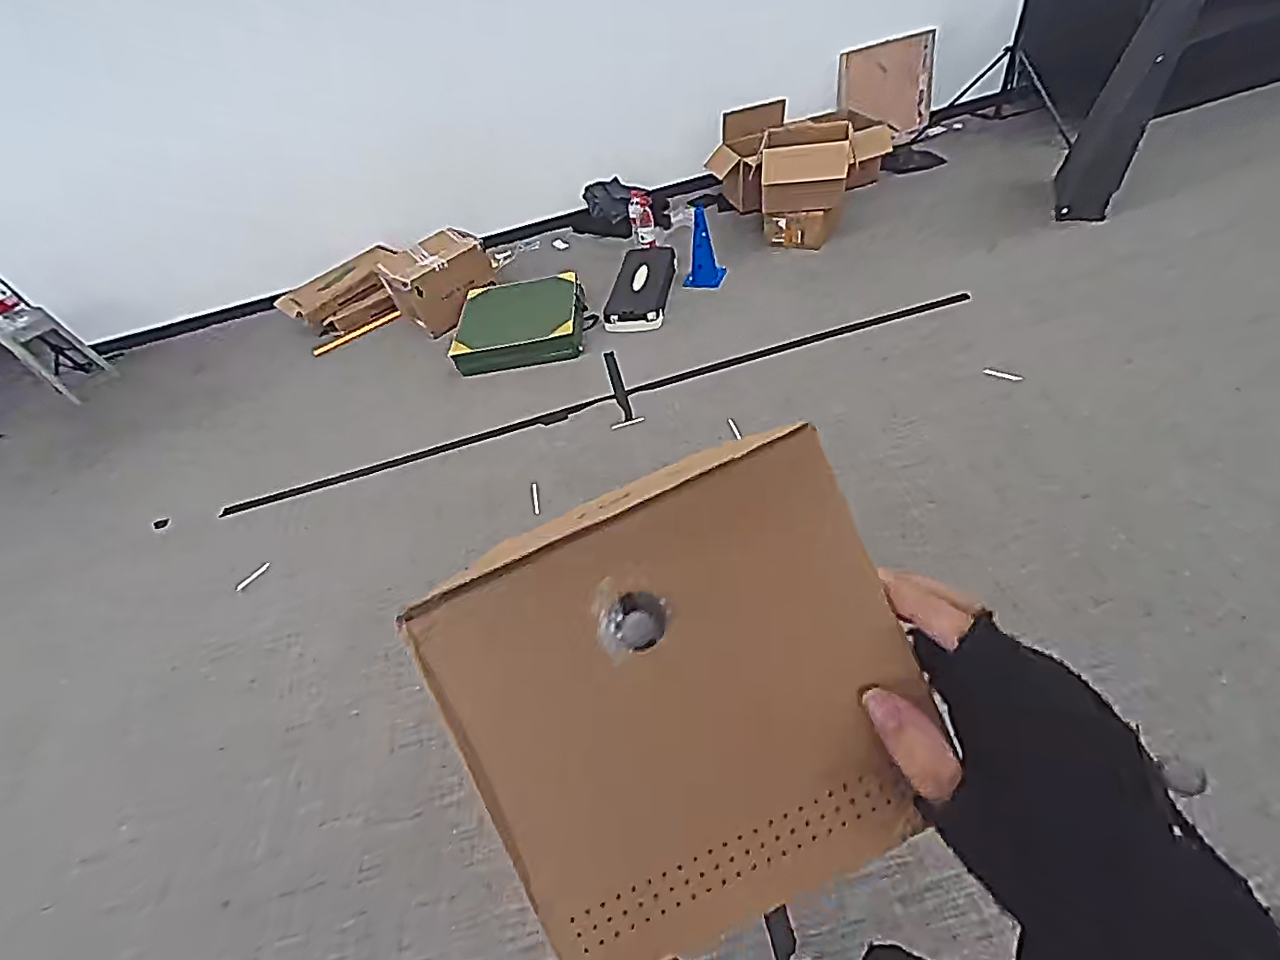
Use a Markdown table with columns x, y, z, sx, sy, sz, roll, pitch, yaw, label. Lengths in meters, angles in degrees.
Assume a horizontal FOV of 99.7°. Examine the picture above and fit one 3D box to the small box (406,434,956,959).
| x | y | z | sx | sy | sz | roll | pitch | yaw | label |
| --- | --- | --- | --- | --- | --- | --- | --- | --- | --- |
| 0.019 | 0.092 | 0.287 | 0.179 | 0.168 | 0.176 | -24 | 92 | -3 | small box |
